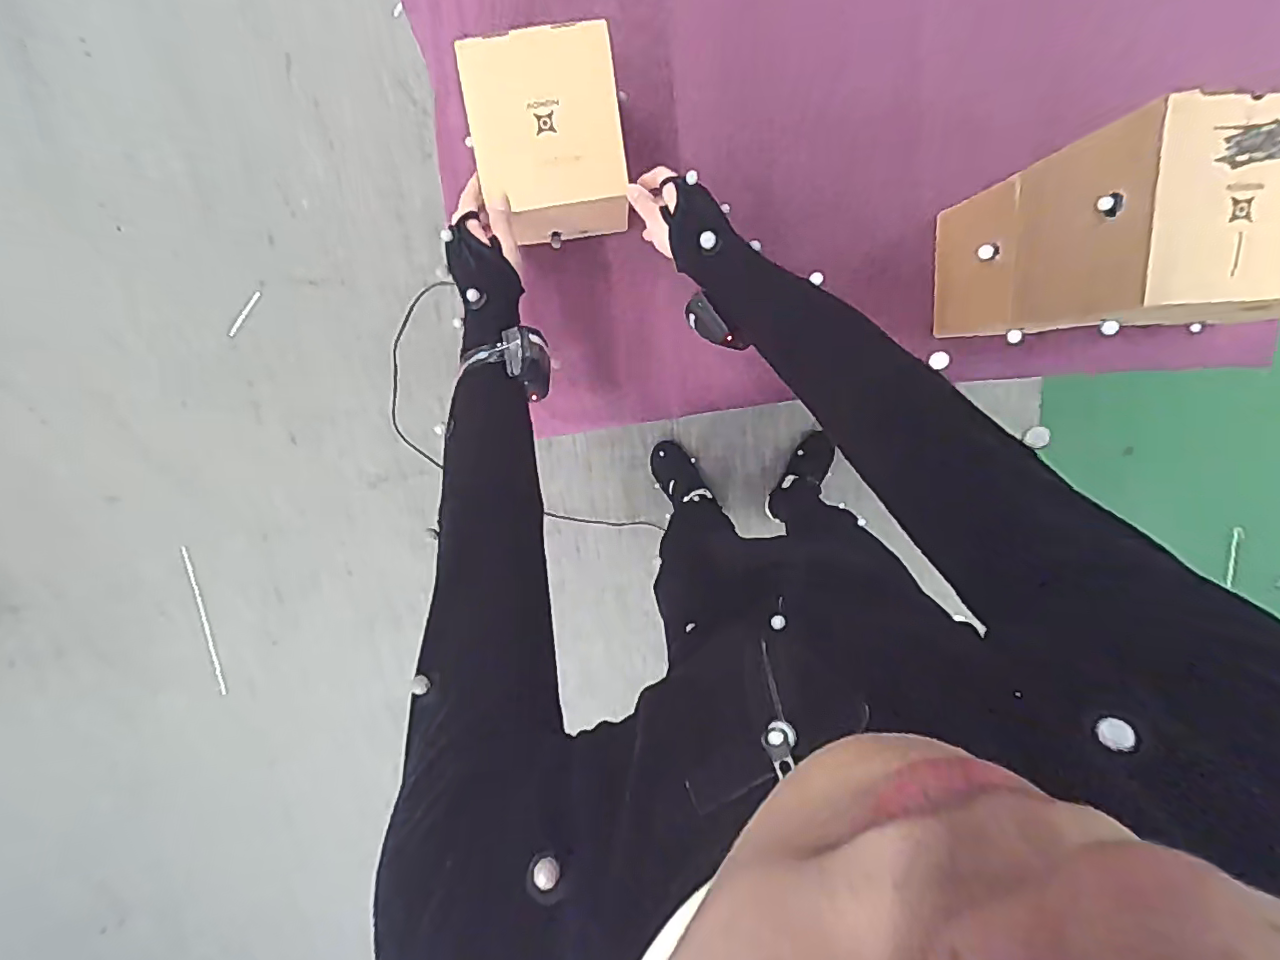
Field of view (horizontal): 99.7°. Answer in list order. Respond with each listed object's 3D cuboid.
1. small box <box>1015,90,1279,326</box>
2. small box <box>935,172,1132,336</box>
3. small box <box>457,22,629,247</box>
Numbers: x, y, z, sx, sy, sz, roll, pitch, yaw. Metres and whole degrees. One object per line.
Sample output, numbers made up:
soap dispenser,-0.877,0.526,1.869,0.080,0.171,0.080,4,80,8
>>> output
small box,0.522,-0.259,0.551,0.168,0.176,0.179,-3,100,-1
small box,0.515,-0.285,0.713,0.168,0.176,0.179,-4,99,-1
small box,-0.107,-0.406,0.665,0.168,0.176,0.179,-8,102,0
